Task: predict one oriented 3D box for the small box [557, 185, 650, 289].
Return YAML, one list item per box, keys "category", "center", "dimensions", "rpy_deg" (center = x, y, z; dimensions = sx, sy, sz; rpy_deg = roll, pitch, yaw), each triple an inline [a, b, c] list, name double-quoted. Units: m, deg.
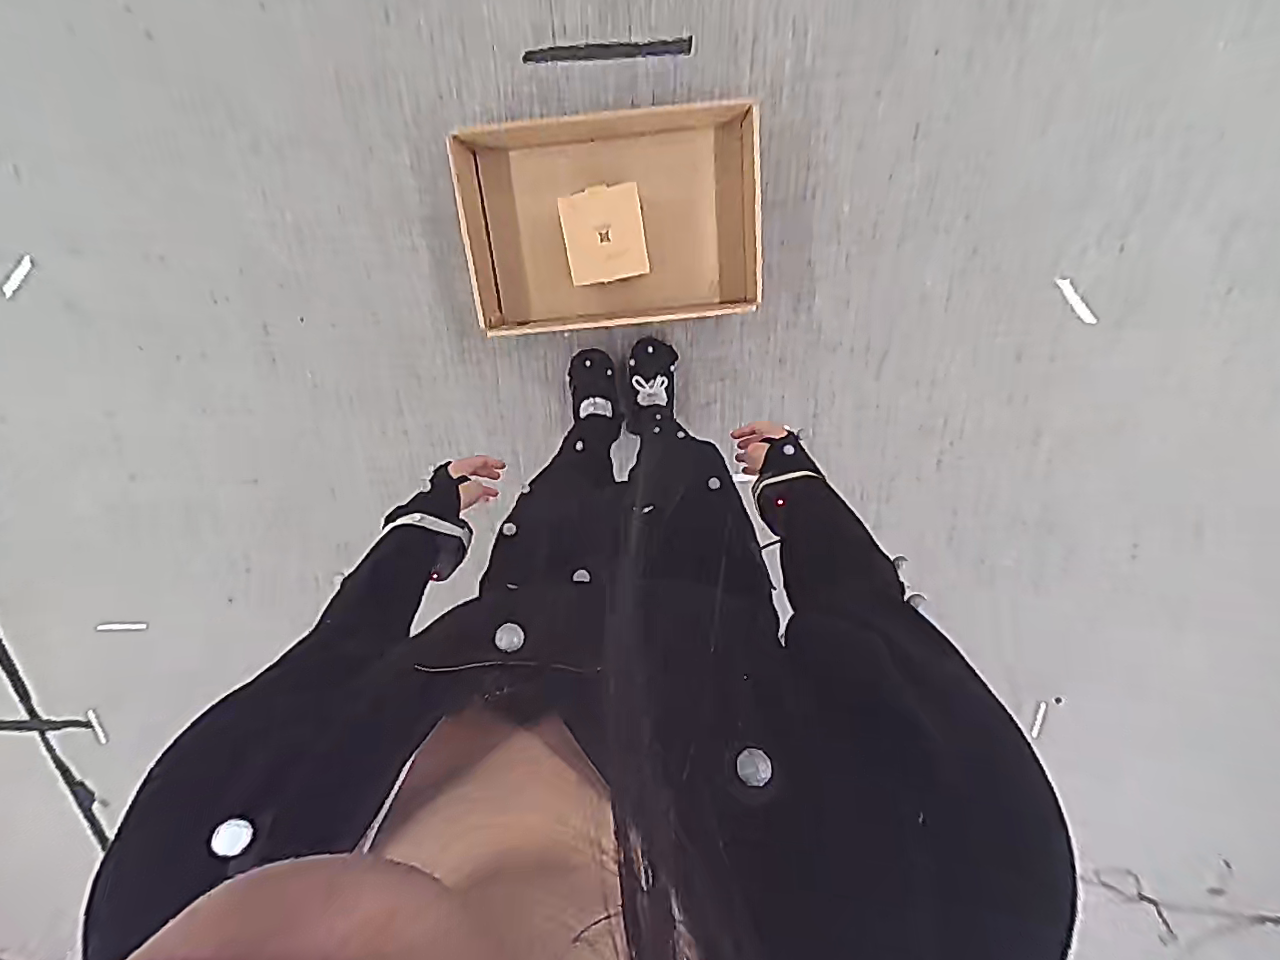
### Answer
- category: "small box"
  center: [-0.074, -0.522, 1.183]
  dimensions: [0.168, 0.176, 0.179]
  rpy_deg: [-9, 110, 4]
